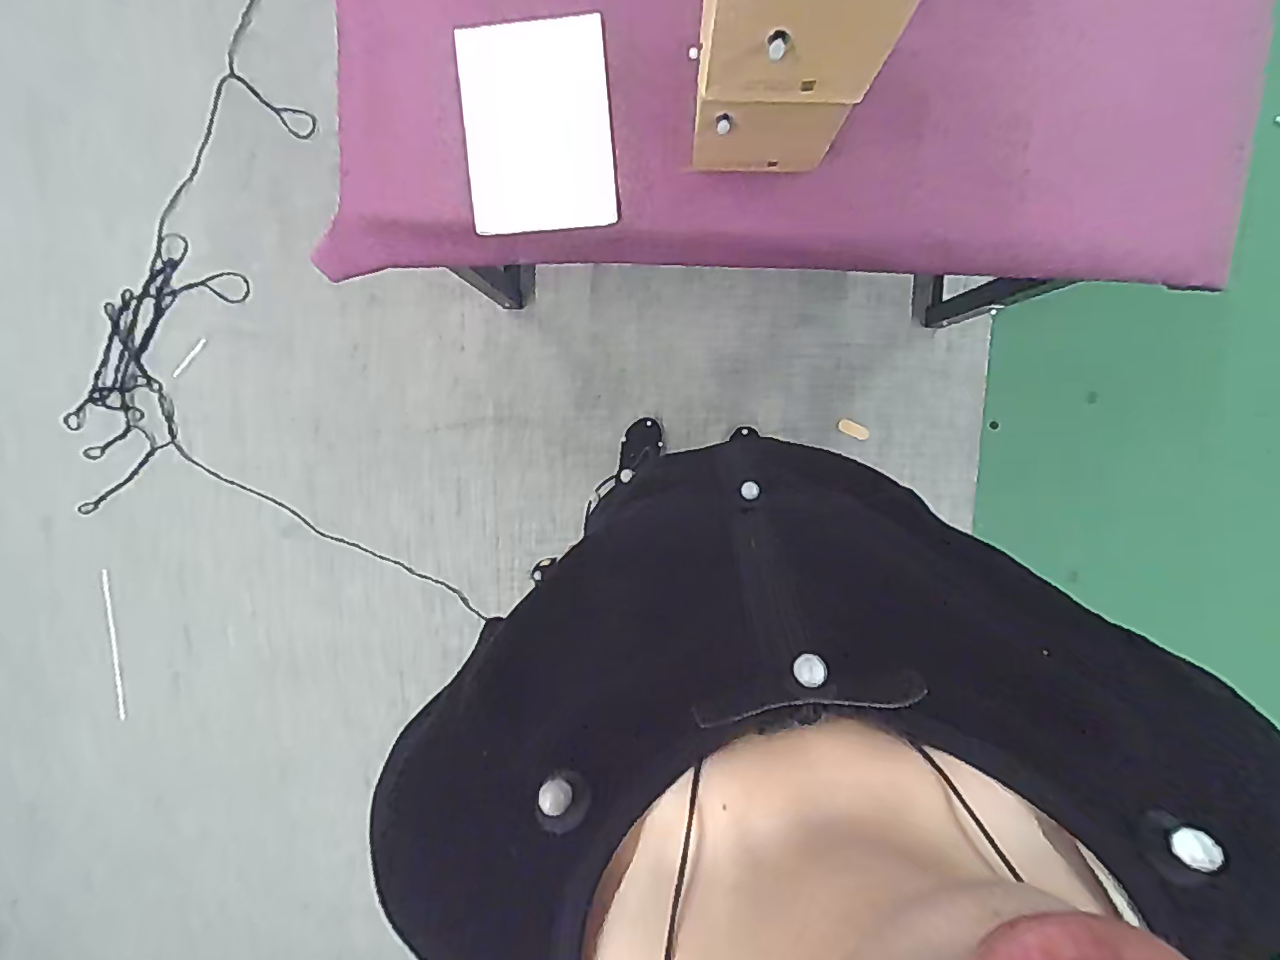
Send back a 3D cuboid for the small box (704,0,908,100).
[{"bbox_3d":[0.148,-0.475,0.479,0.168,0.176,0.179,3,95,2],"label":"small box"}]
